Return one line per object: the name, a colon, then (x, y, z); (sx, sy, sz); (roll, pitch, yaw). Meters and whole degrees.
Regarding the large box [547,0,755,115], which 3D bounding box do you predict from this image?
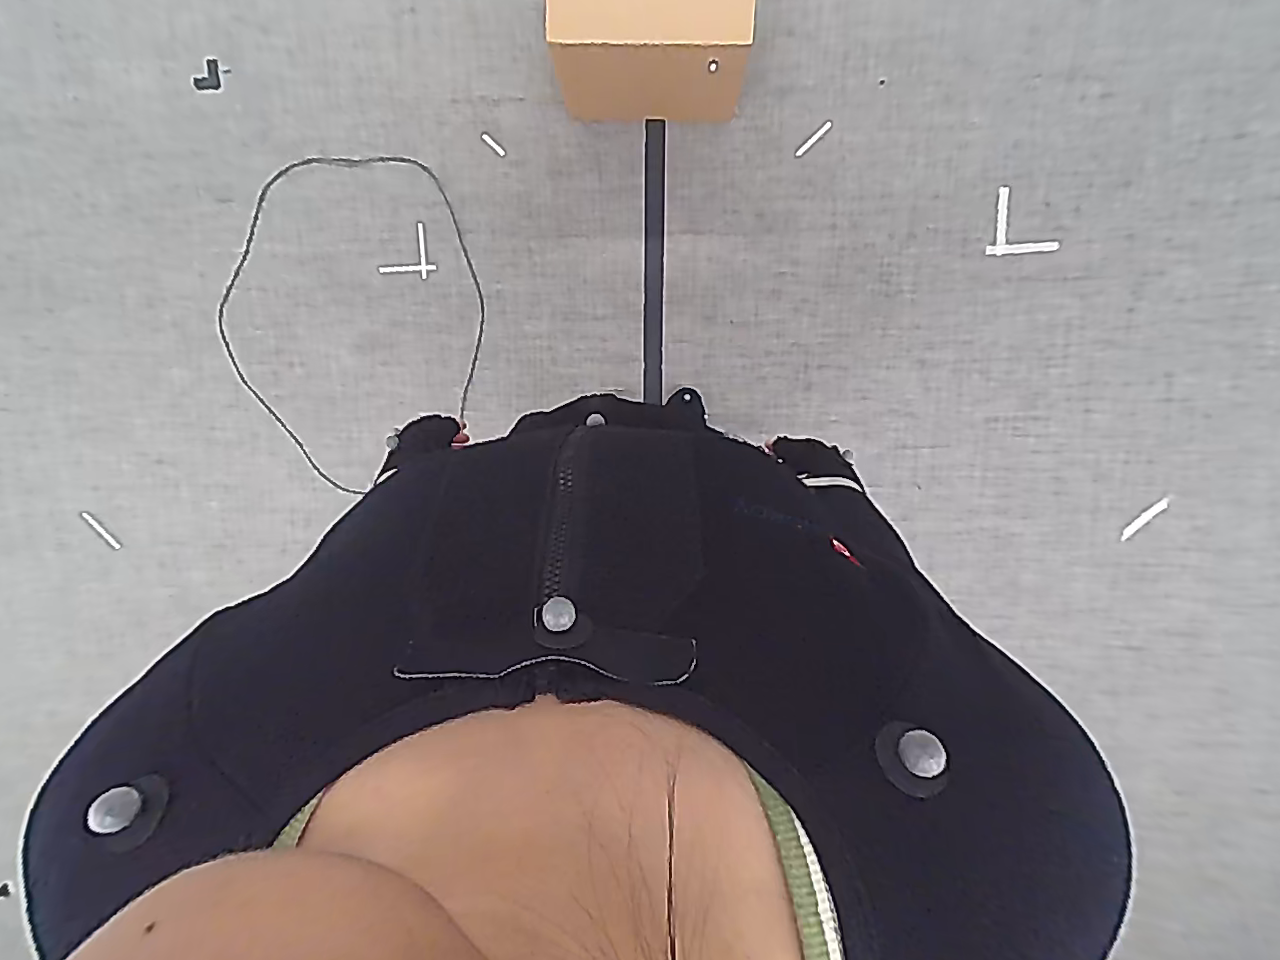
large box: (0.027, -1.020, 1.160); (0.408, 0.320, 0.320); (2, 100, 1)
